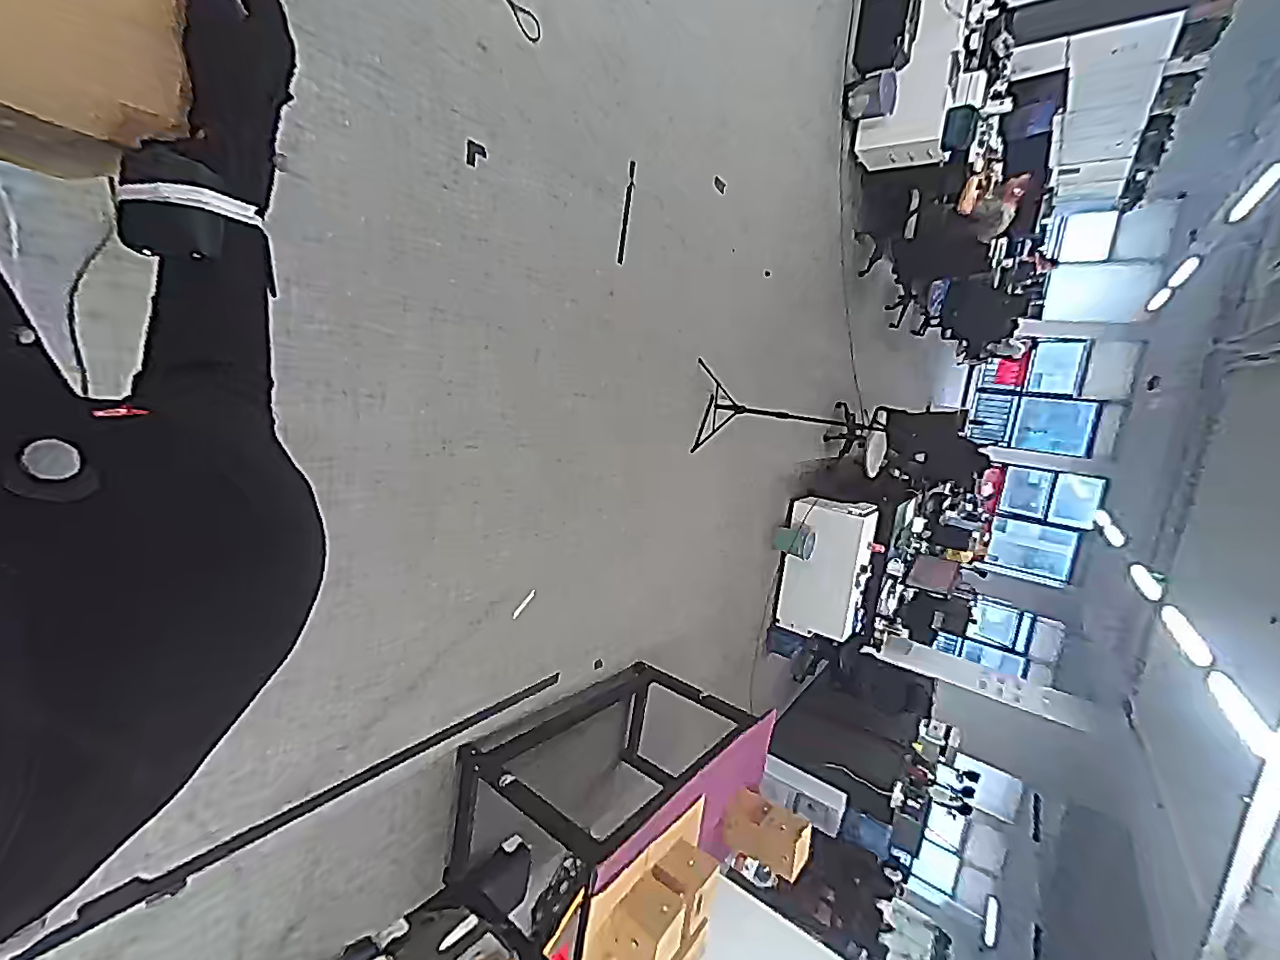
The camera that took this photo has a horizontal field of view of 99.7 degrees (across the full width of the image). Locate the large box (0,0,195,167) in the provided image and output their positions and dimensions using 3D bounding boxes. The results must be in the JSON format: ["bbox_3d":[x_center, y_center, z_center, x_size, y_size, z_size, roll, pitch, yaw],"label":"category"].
[{"bbox_3d":[-0.534,-0.415,0.283,0.408,0.320,0.320,-3,109,-58],"label":"large box"}]
